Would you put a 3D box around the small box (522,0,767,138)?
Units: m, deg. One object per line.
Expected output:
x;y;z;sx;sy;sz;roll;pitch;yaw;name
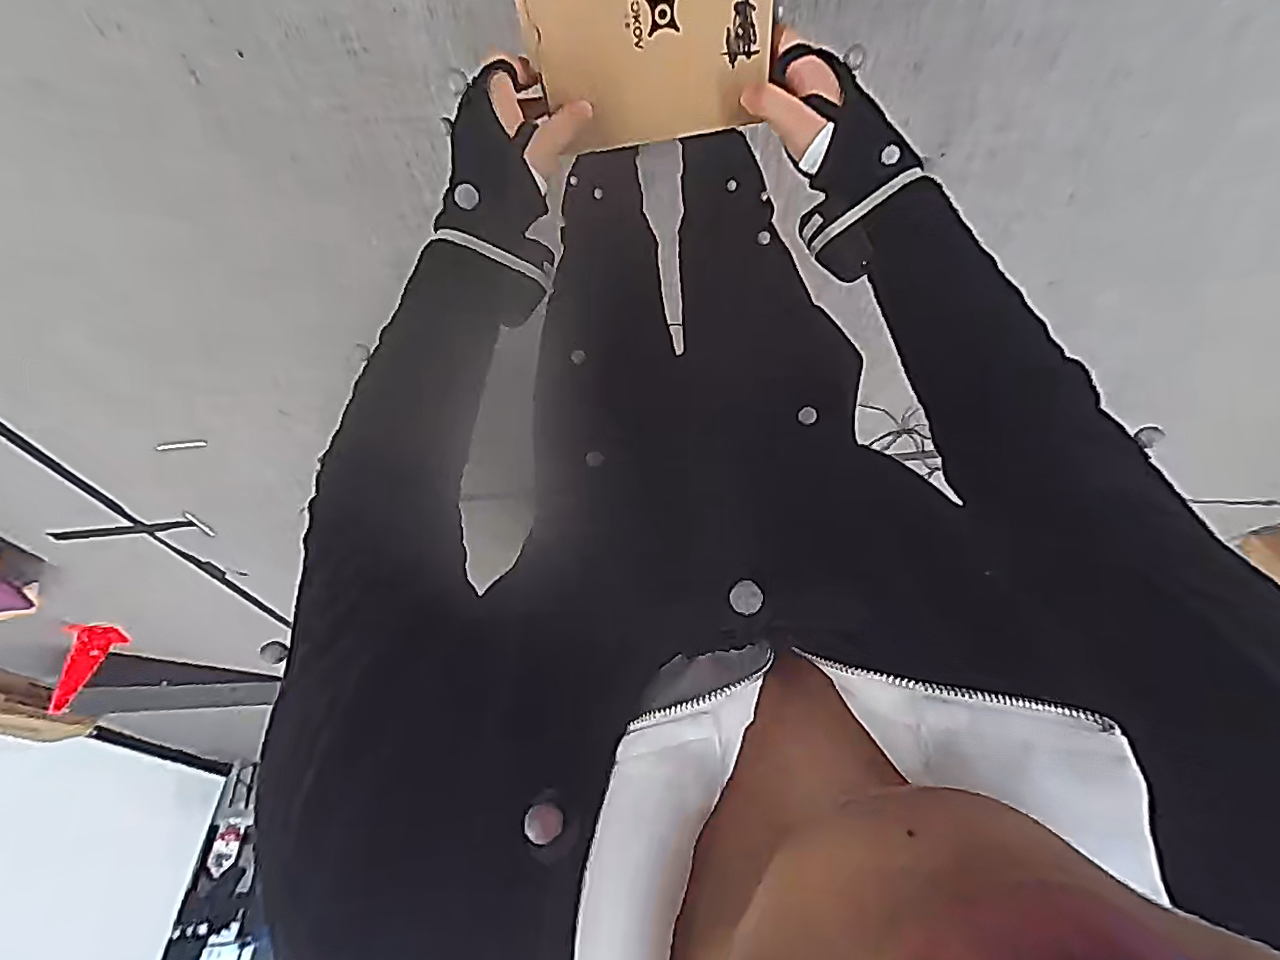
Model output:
0.000;-0.405;0.427;0.179;0.176;0.168;-7;146;4;small box
